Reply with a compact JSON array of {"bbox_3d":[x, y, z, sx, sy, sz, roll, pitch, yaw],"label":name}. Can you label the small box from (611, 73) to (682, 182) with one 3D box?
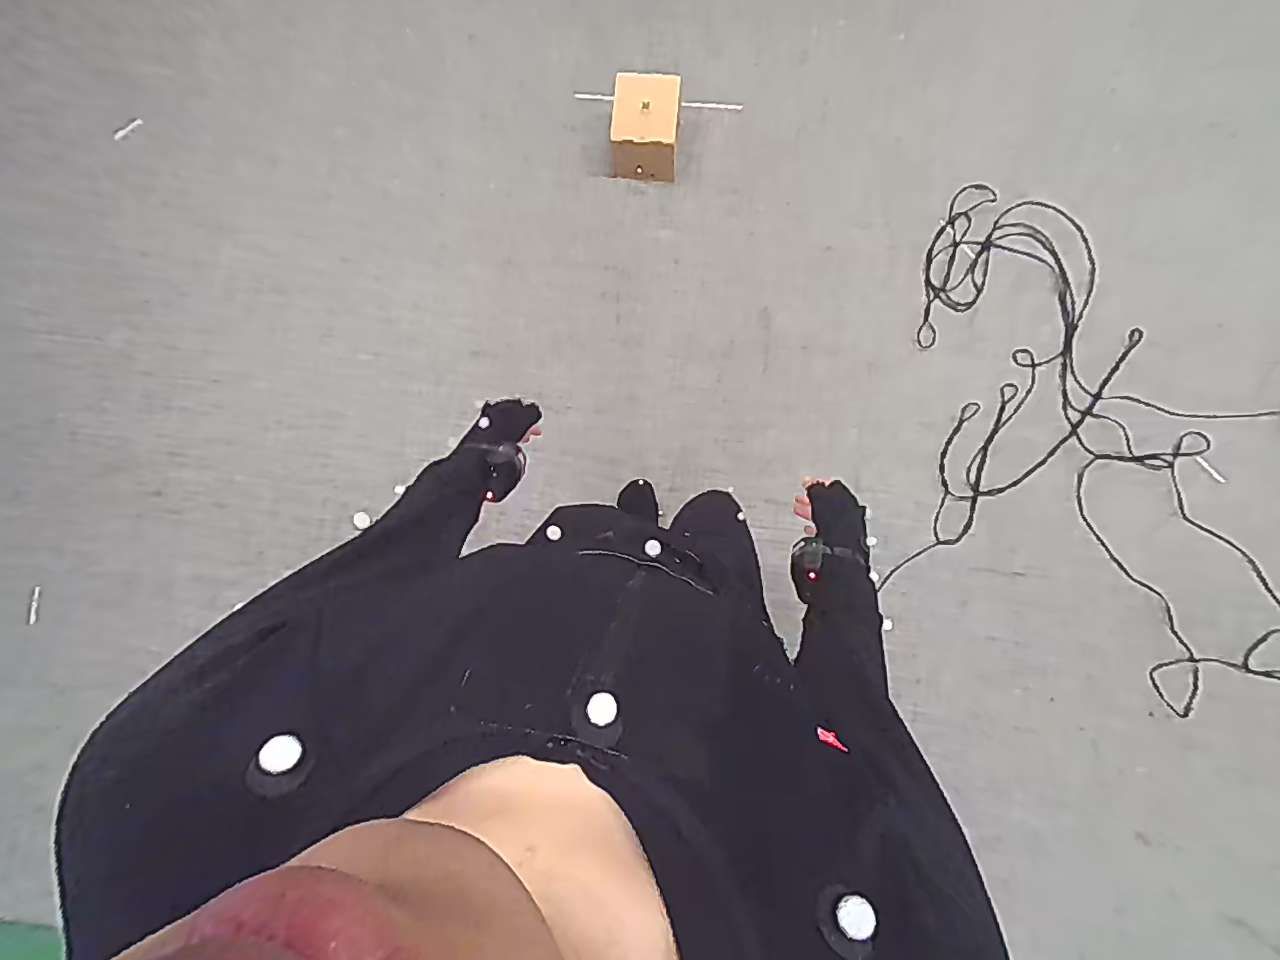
[{"bbox_3d":[0.019,-0.925,1.428,0.168,0.176,0.179,5,89,4],"label":"small box"}]
